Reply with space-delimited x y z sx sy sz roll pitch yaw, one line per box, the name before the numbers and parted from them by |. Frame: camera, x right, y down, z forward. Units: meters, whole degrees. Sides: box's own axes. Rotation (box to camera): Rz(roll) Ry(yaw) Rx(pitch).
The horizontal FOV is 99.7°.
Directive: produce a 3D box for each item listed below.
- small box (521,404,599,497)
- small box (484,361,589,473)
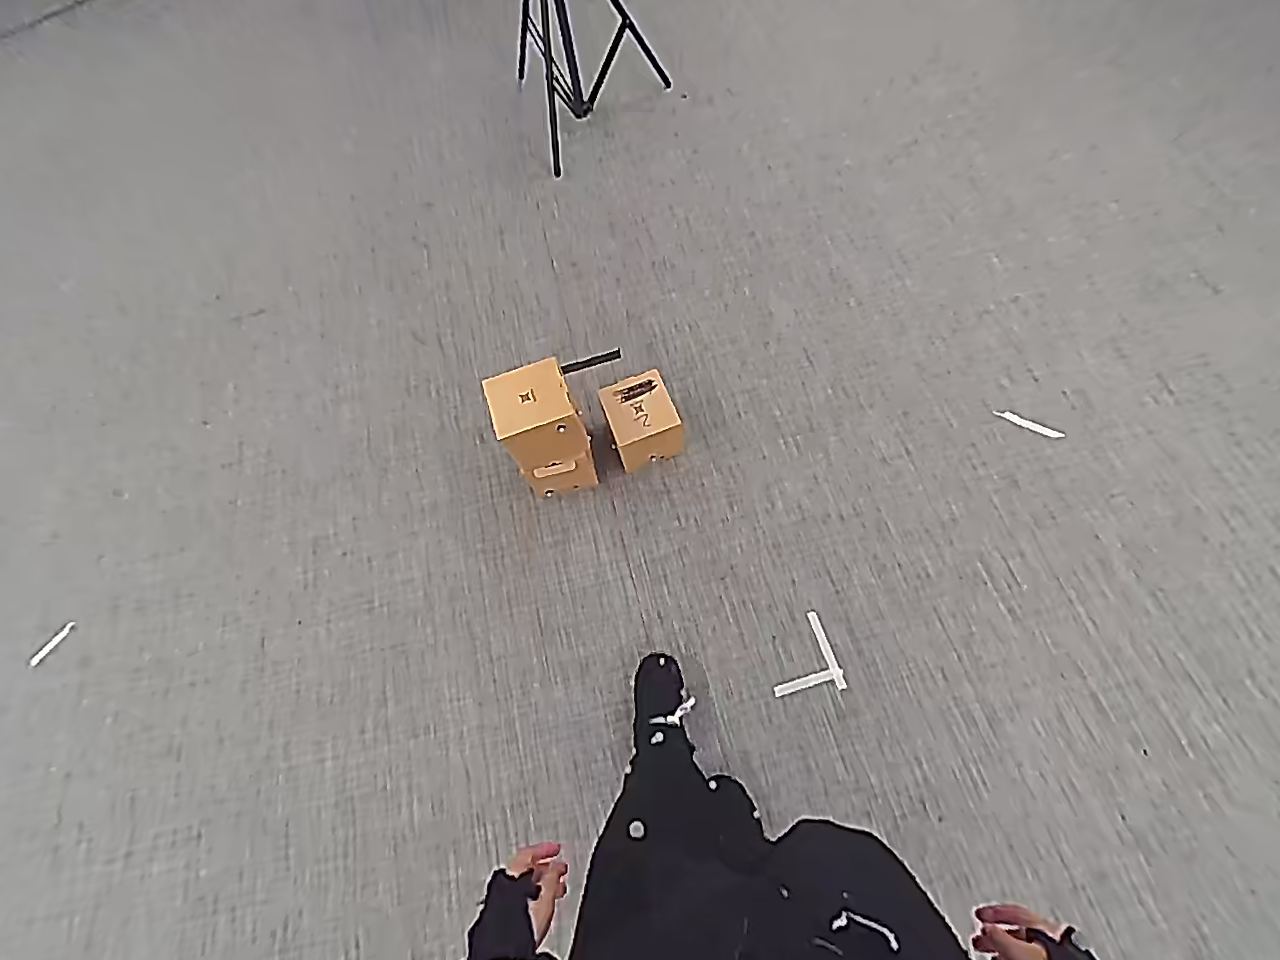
small box | -0.211 -0.068 1.399 0.168 0.176 0.179 -14 65 1
small box | -0.234 -0.138 1.254 0.179 0.176 0.168 -20 66 -2
